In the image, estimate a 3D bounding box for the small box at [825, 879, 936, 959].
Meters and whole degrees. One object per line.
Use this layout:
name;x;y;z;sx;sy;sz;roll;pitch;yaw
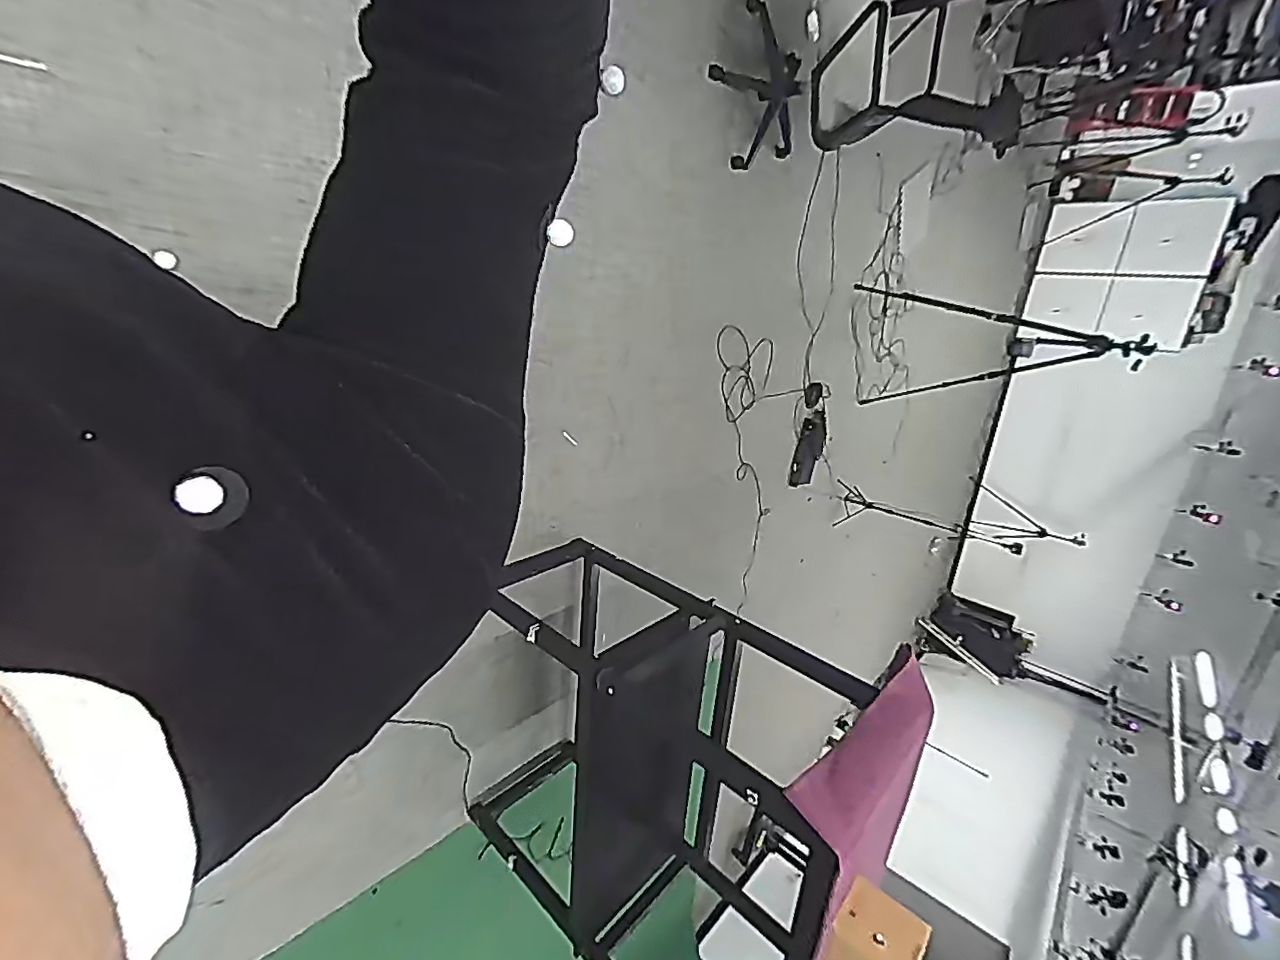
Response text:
small box;0.522;1.032;1.187;0.168;0.176;0.179;-12;114;-47
